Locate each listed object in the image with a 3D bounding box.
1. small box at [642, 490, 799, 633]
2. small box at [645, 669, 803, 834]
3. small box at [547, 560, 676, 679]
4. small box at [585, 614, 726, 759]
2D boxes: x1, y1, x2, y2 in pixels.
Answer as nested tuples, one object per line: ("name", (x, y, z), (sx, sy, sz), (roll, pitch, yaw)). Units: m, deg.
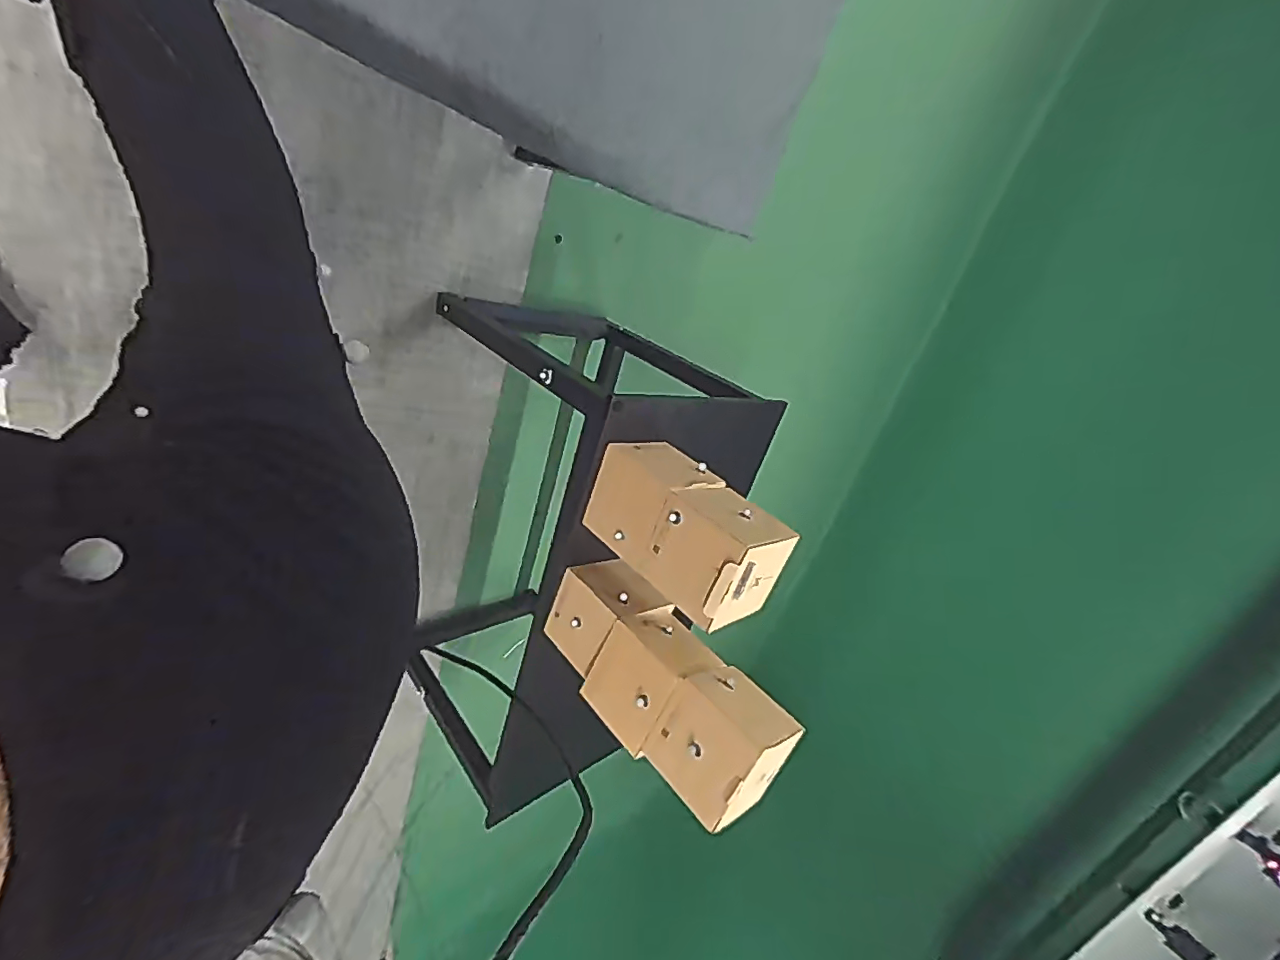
("small box", (0.132, 0.129, 0.928), (0.179, 0.176, 0.168), (-3, 122, -48))
("small box", (0.140, 0.449, 0.927), (0.179, 0.176, 0.168), (15, 106, -51))
("small box", (-0.065, 0.285, 1.120), (0.179, 0.176, 0.168), (-1, 120, -48))
("small box", (0.022, 0.376, 1.015), (0.168, 0.176, 0.179), (10, 111, -51))
